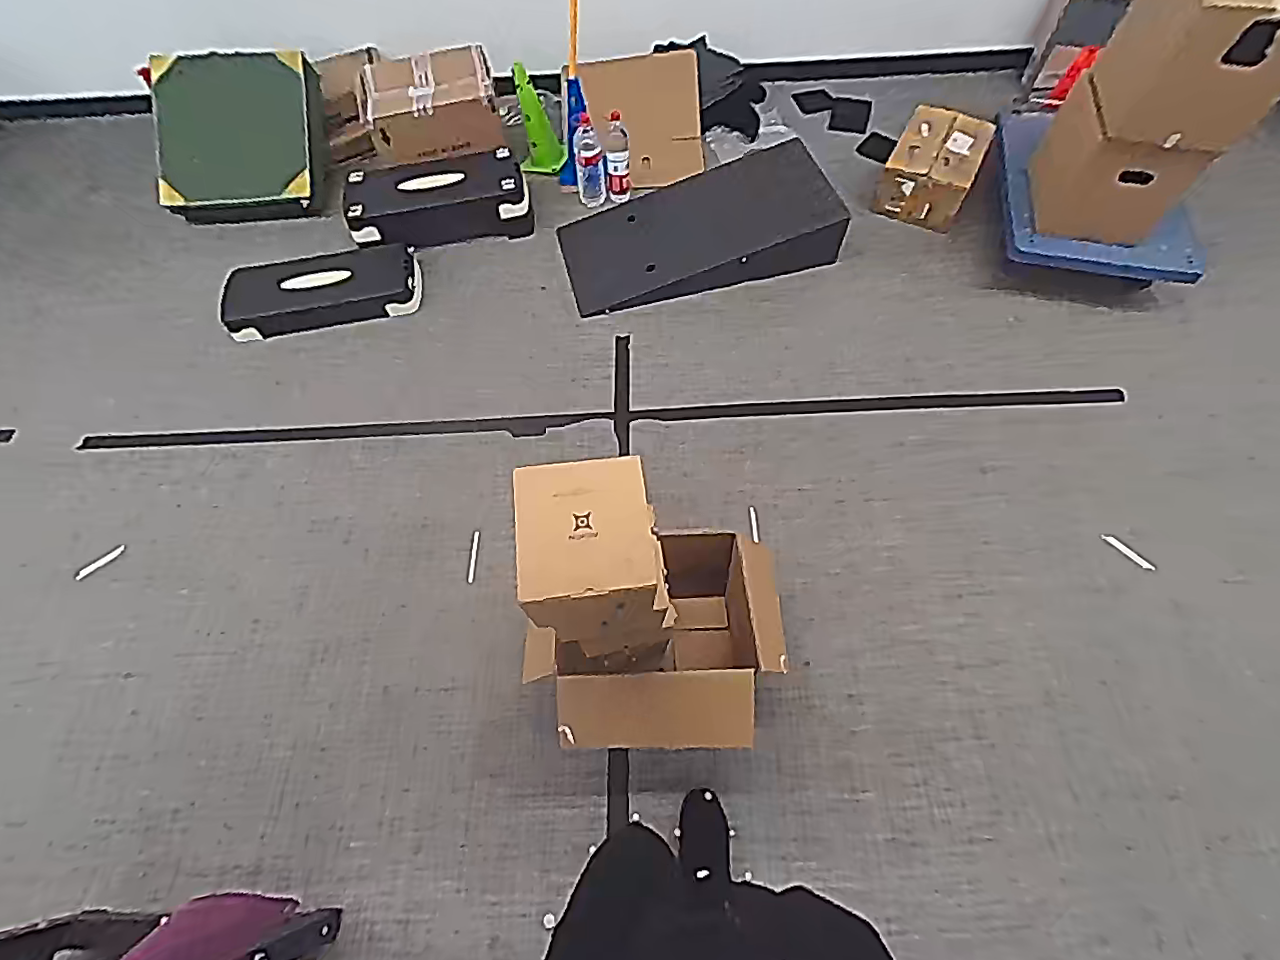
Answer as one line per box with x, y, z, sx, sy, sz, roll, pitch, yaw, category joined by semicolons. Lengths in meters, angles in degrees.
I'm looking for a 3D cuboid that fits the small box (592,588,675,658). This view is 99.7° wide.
-0.036;0.275;1.188;0.179;0.176;0.168;-19;67;-11;small box

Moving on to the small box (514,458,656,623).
-0.072;0.090;0.731;0.168;0.176;0.179;-6;65;-5;small box

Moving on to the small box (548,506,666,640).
-0.058;0.157;0.880;0.179;0.176;0.168;-7;66;-5;small box
